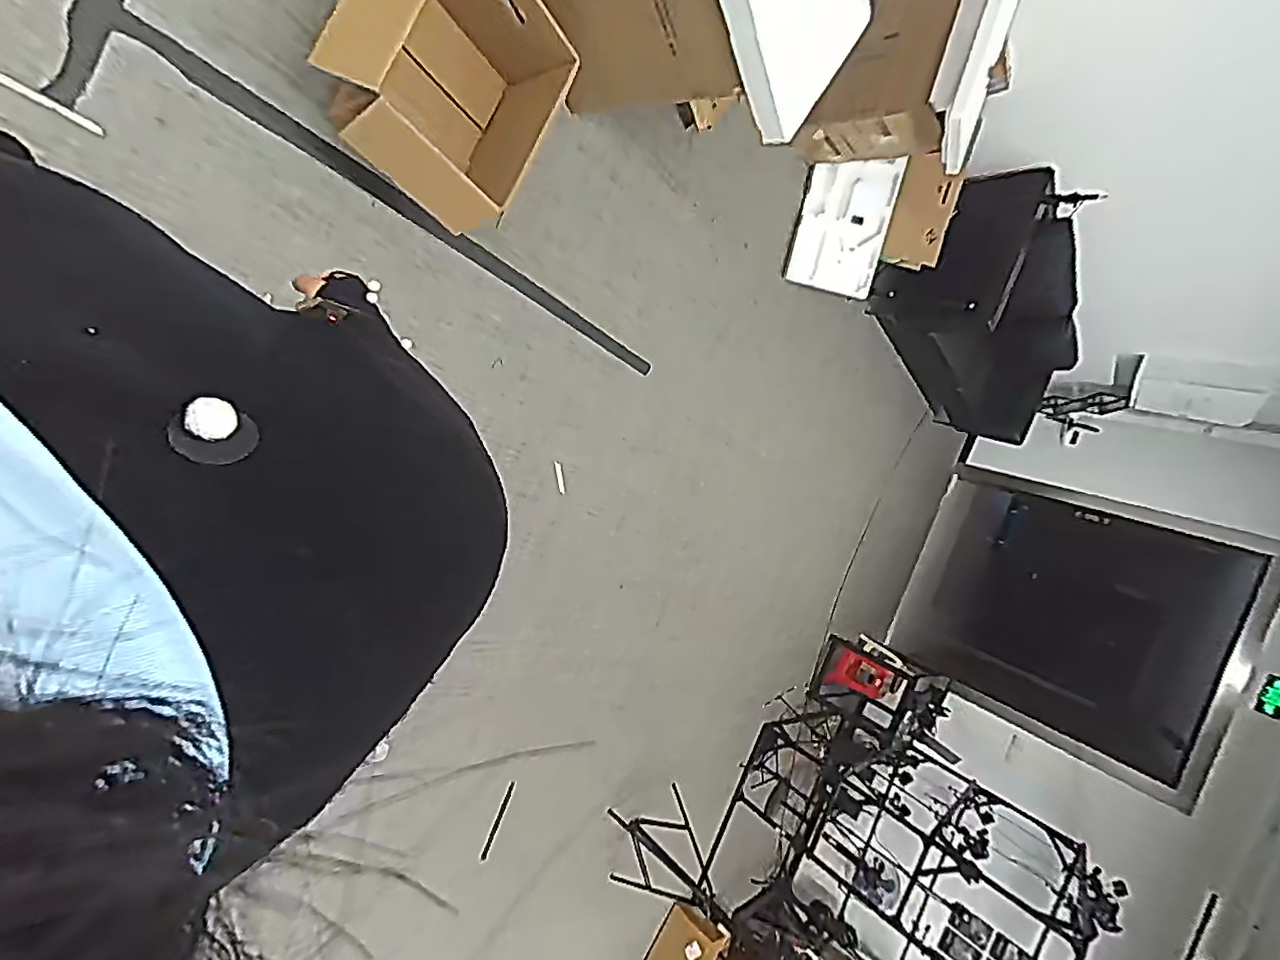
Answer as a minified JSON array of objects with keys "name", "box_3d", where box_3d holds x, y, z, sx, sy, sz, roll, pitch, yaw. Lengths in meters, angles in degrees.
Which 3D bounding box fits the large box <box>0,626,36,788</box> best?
[{"name":"large box","box_3d":[-1.168,0.395,0.734,0.408,0.320,0.320,25,87,-49]}]
